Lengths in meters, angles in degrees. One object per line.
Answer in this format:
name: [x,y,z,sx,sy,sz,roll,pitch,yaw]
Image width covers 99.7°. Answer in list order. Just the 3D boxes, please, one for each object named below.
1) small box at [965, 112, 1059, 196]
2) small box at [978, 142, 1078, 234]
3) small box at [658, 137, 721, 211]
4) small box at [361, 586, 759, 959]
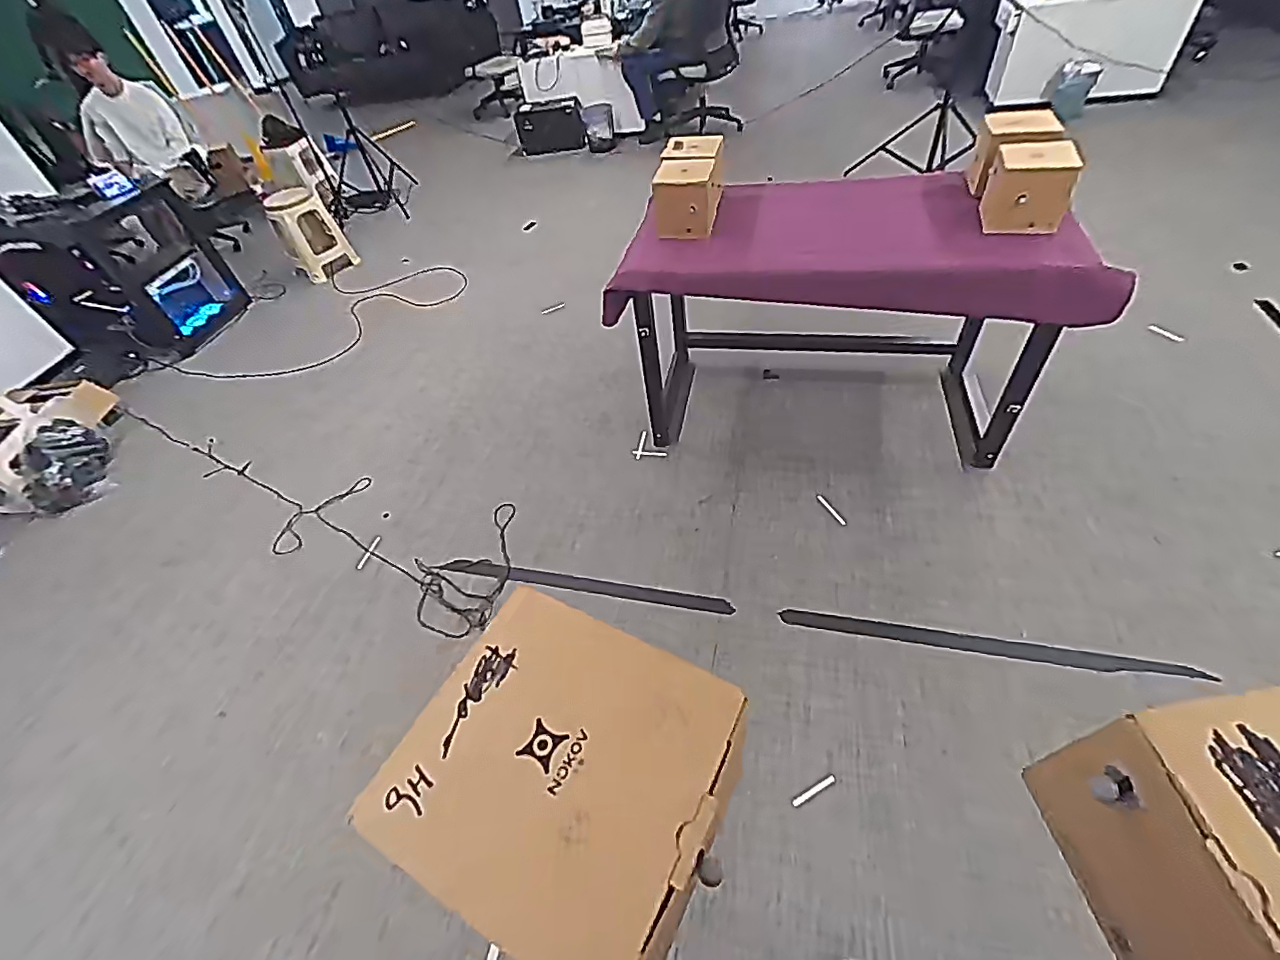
small box: [1.064,-0.940,1.567,0.179,0.176,0.168,6,51,14]
small box: [1.016,-0.768,1.432,0.168,0.176,0.179,8,50,18]
small box: [0.169,-1.003,1.777,0.179,0.176,0.168,8,52,14]
small box: [-0.035,0.209,0.370,0.179,0.176,0.168,20,54,22]
